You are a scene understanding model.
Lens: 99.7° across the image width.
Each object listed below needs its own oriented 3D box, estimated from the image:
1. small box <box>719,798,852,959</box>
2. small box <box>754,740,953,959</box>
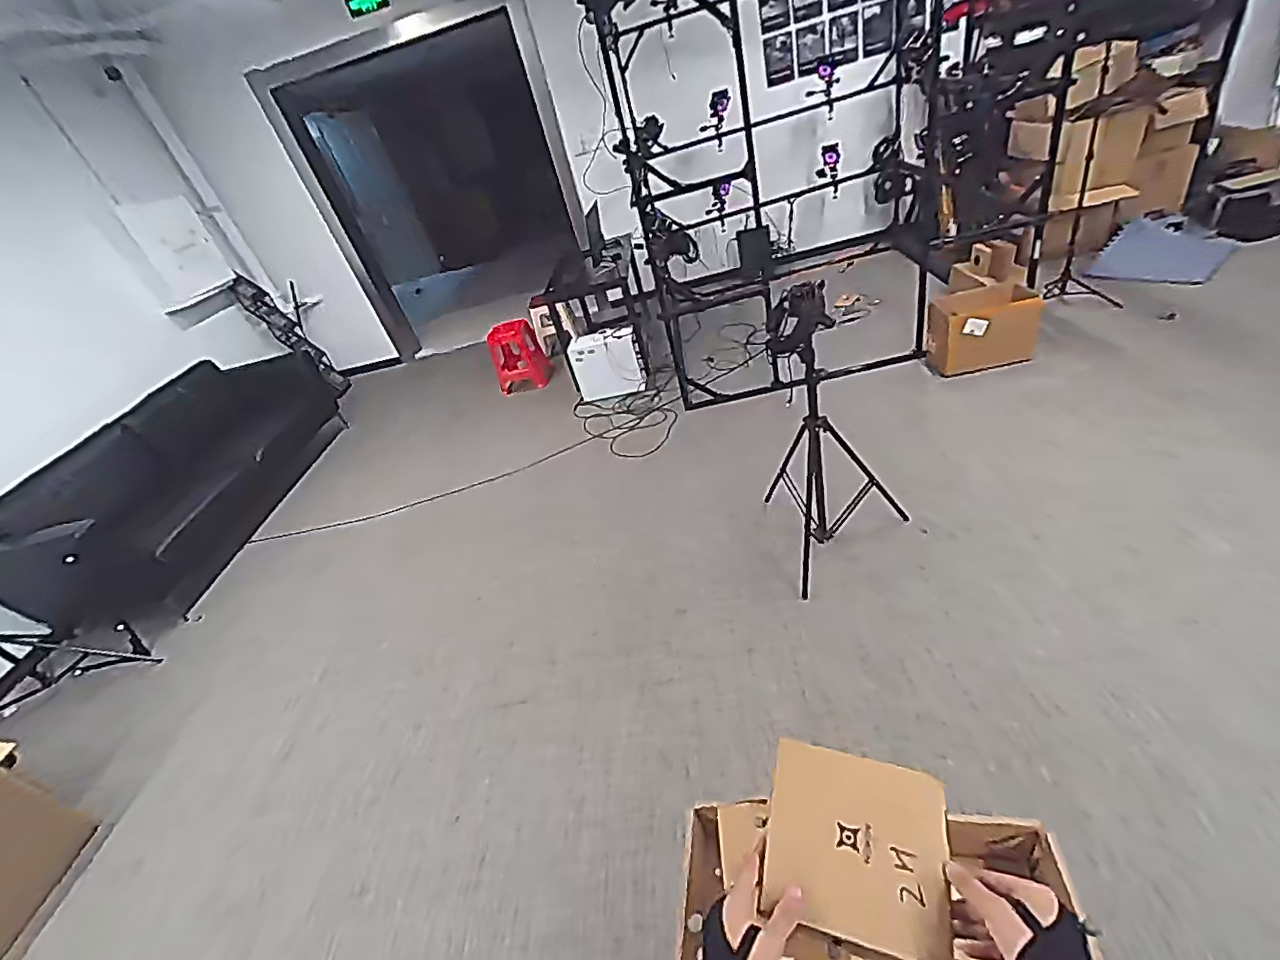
[{"bbox_3d":[0.221,0.622,0.838,0.168,0.176,0.179,-11,34,9],"label":"small box"},{"bbox_3d":[0.228,0.422,0.608,0.179,0.176,0.168,9,52,16],"label":"small box"}]
